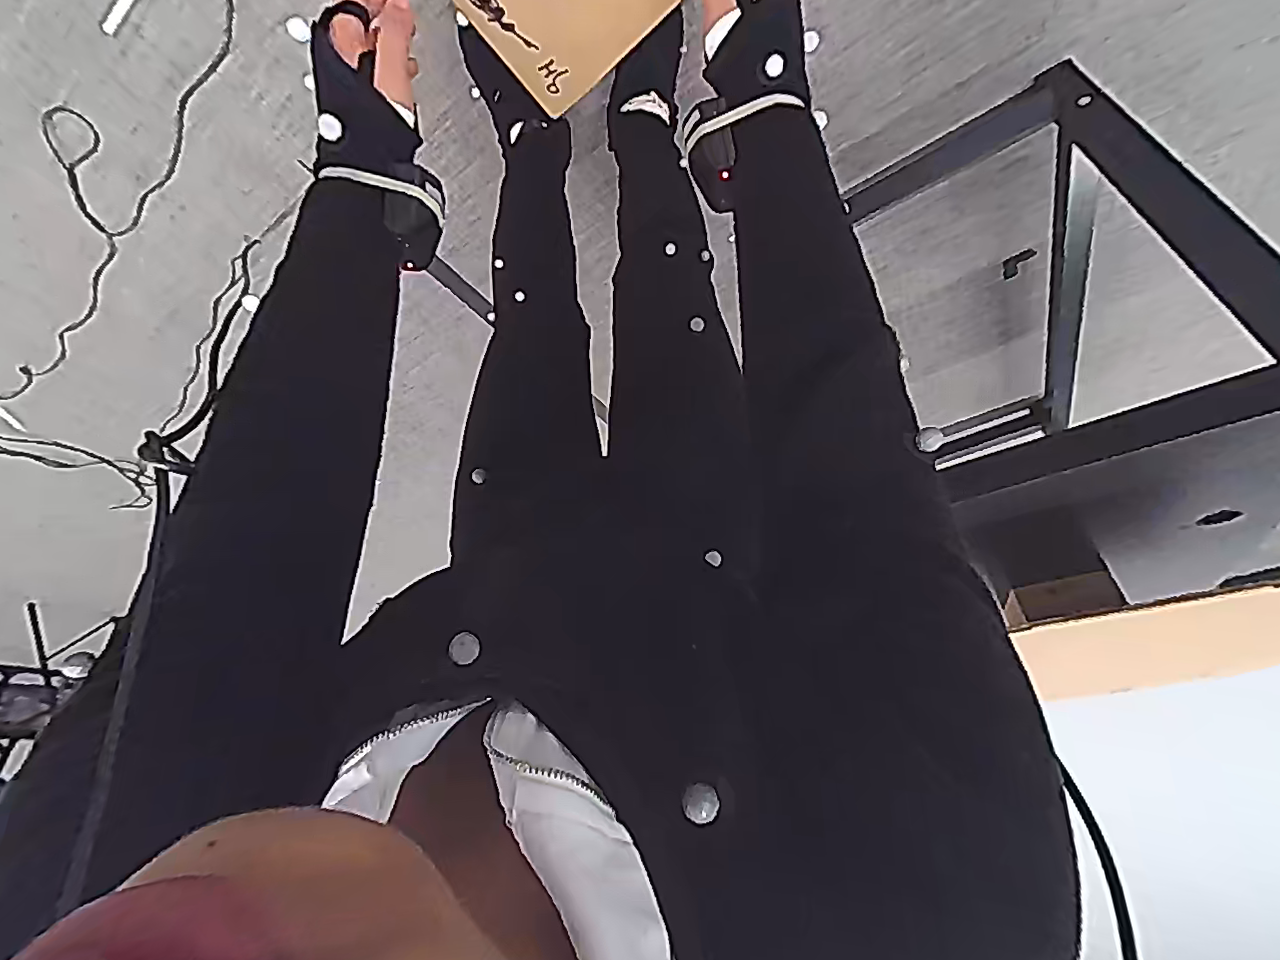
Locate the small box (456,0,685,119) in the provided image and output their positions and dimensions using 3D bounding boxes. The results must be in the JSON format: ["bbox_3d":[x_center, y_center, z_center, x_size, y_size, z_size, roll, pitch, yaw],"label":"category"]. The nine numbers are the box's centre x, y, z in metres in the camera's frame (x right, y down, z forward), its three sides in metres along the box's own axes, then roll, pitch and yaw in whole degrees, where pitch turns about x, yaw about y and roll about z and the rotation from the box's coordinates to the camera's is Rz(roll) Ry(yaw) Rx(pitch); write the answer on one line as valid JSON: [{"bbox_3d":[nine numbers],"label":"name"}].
[{"bbox_3d":[-0.067,-0.473,0.460,0.179,0.176,0.168,-26,143,28],"label":"small box"}]
